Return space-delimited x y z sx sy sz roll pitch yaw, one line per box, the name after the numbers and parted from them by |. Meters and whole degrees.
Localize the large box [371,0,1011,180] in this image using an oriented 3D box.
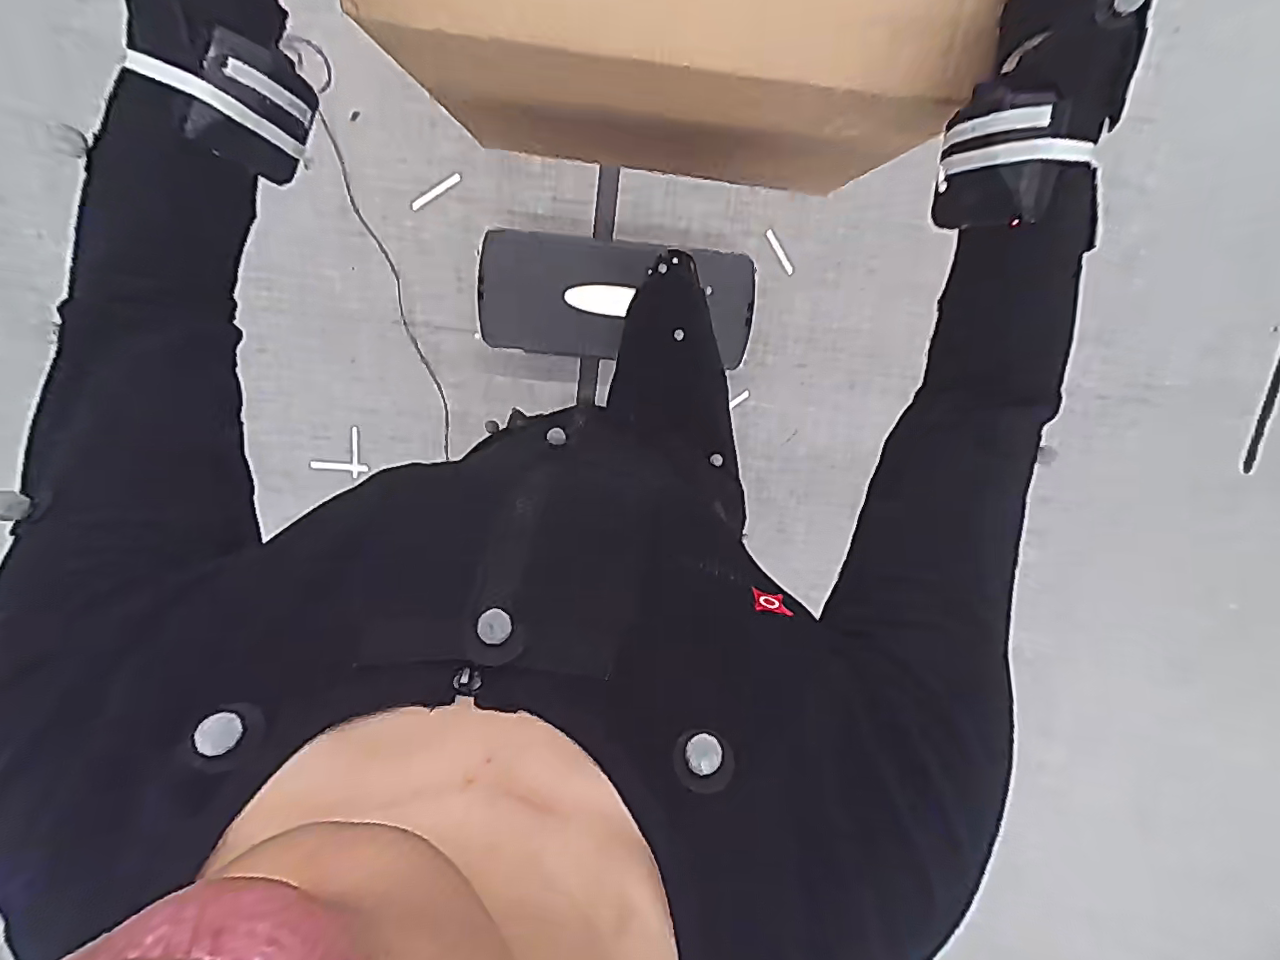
0.039 -0.461 0.432 0.408 0.320 0.320 6 109 -4 | large box
